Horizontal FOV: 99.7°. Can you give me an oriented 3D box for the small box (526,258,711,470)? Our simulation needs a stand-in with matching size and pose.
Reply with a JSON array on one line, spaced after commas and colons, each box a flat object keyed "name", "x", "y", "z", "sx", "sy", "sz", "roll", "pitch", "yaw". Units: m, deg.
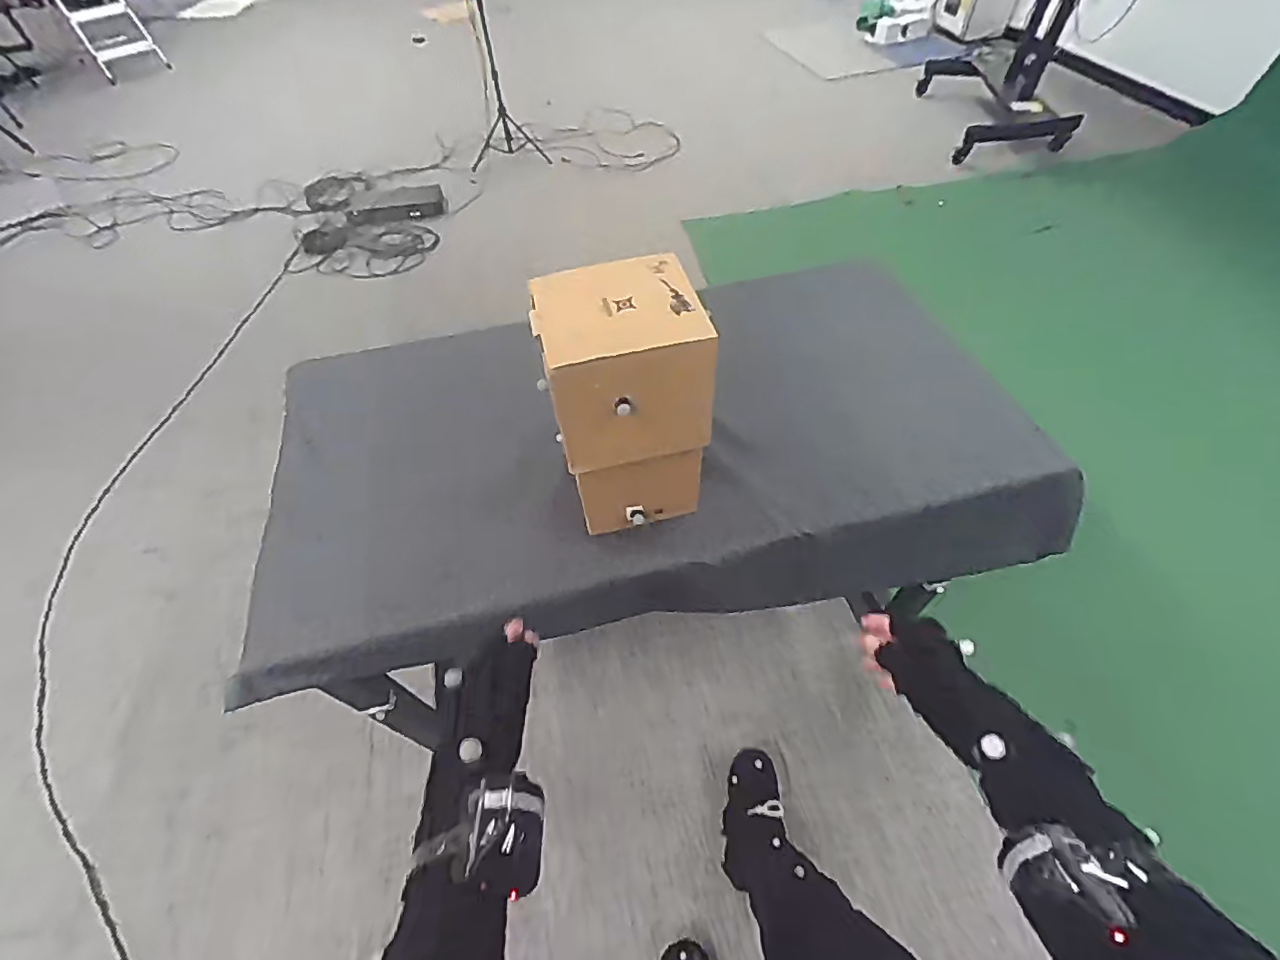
[{"name": "small box", "x": -0.024, "y": -0.135, "z": 0.649, "sx": 0.179, "sy": 0.176, "sz": 0.168, "roll": -15, "pitch": 51, "yaw": -8}]

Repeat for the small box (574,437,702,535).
[{"name": "small box", "x": -0.017, "y": -0.048, "z": 0.786, "sx": 0.168, "sy": 0.176, "sz": 0.179, "roll": -15, "pitch": 54, "yaw": -6}]
